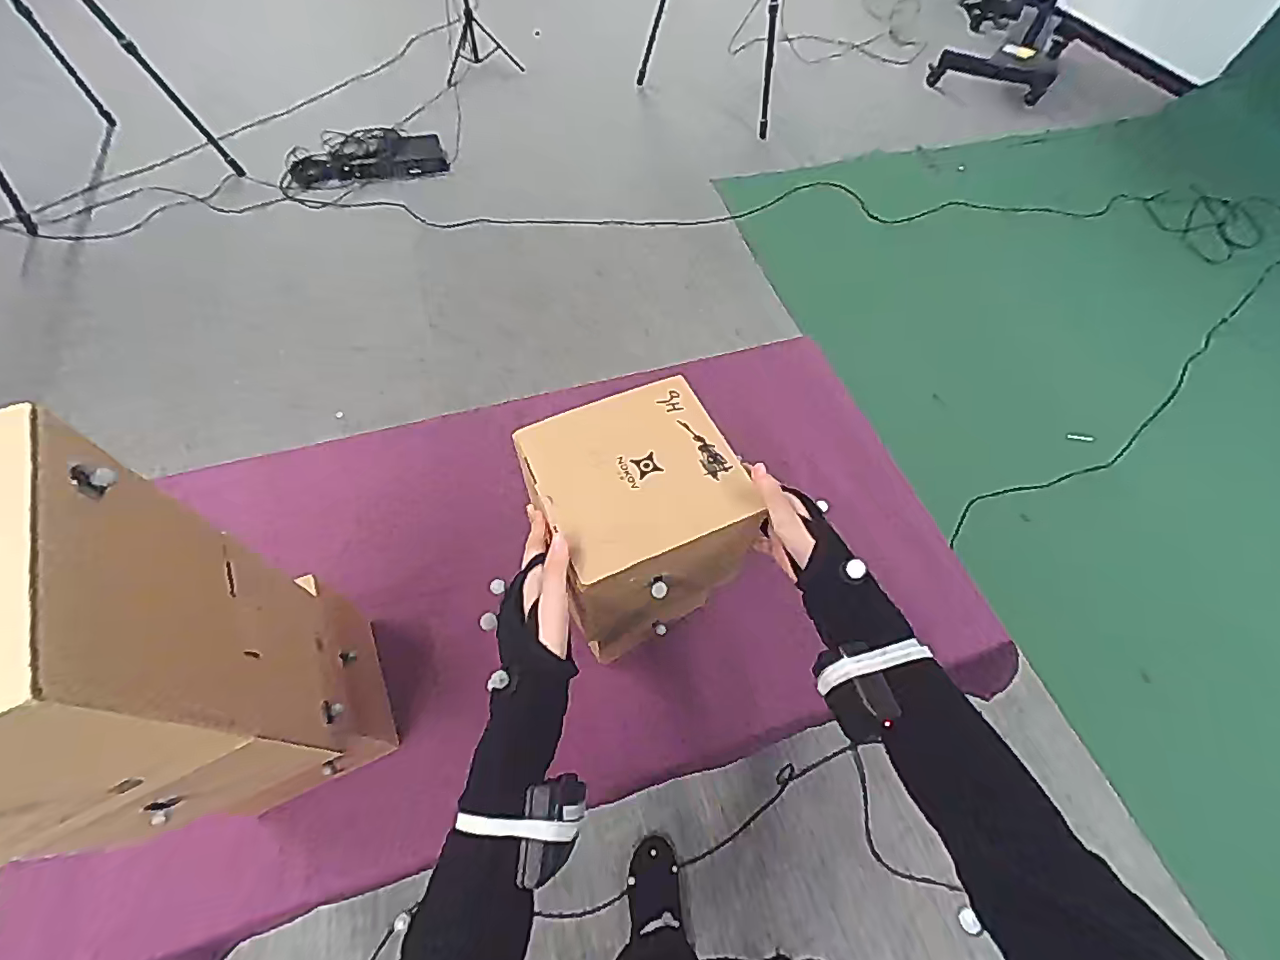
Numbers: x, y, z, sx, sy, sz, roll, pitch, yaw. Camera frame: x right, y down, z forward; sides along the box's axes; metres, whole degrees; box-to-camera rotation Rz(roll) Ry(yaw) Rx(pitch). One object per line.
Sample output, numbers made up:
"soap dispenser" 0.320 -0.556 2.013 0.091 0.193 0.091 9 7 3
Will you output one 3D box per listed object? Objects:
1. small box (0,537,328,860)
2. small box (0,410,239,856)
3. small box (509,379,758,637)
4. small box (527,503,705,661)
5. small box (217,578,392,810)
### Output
"small box" -0.383 0.177 0.445 0.179 0.176 0.168 -21 62 -15
"small box" -0.365 0.099 0.303 0.168 0.176 0.179 -24 62 -17
"small box" -0.010 0.034 0.539 0.179 0.176 0.168 -21 62 -13
"small box" -0.026 0.102 0.692 0.168 0.176 0.179 -27 63 -16
"small box" -0.396 0.240 0.597 0.168 0.176 0.179 -21 61 -15
